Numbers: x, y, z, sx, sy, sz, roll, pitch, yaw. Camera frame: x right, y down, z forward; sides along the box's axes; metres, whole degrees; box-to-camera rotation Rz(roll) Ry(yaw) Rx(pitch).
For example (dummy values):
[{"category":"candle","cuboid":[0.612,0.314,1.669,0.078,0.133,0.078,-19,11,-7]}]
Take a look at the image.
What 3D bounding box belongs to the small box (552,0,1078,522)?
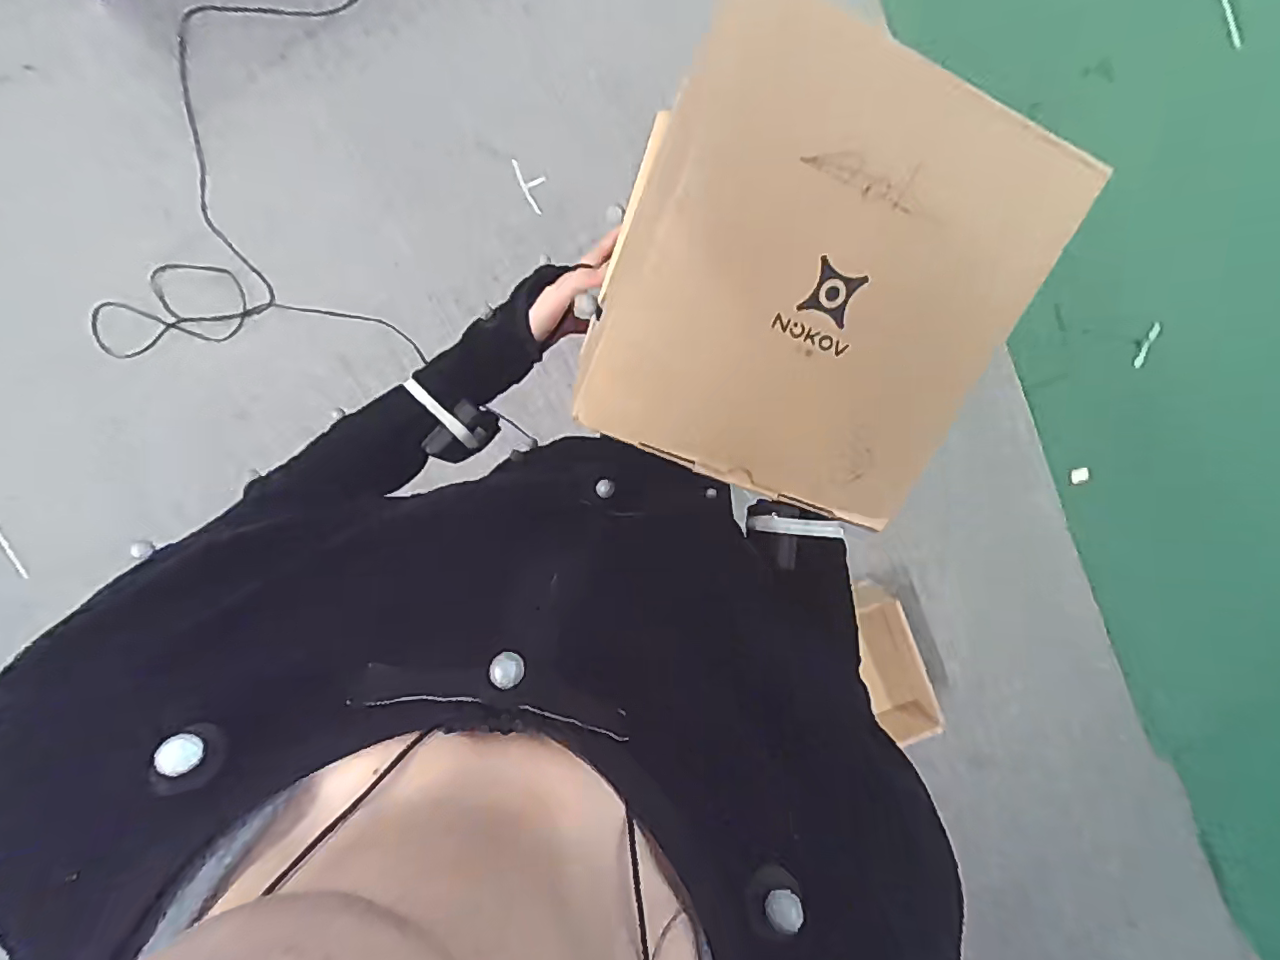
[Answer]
[{"category":"small box","cuboid":[0.063,-0.109,0.299,0.168,0.176,0.179,19,109,-12]}]
